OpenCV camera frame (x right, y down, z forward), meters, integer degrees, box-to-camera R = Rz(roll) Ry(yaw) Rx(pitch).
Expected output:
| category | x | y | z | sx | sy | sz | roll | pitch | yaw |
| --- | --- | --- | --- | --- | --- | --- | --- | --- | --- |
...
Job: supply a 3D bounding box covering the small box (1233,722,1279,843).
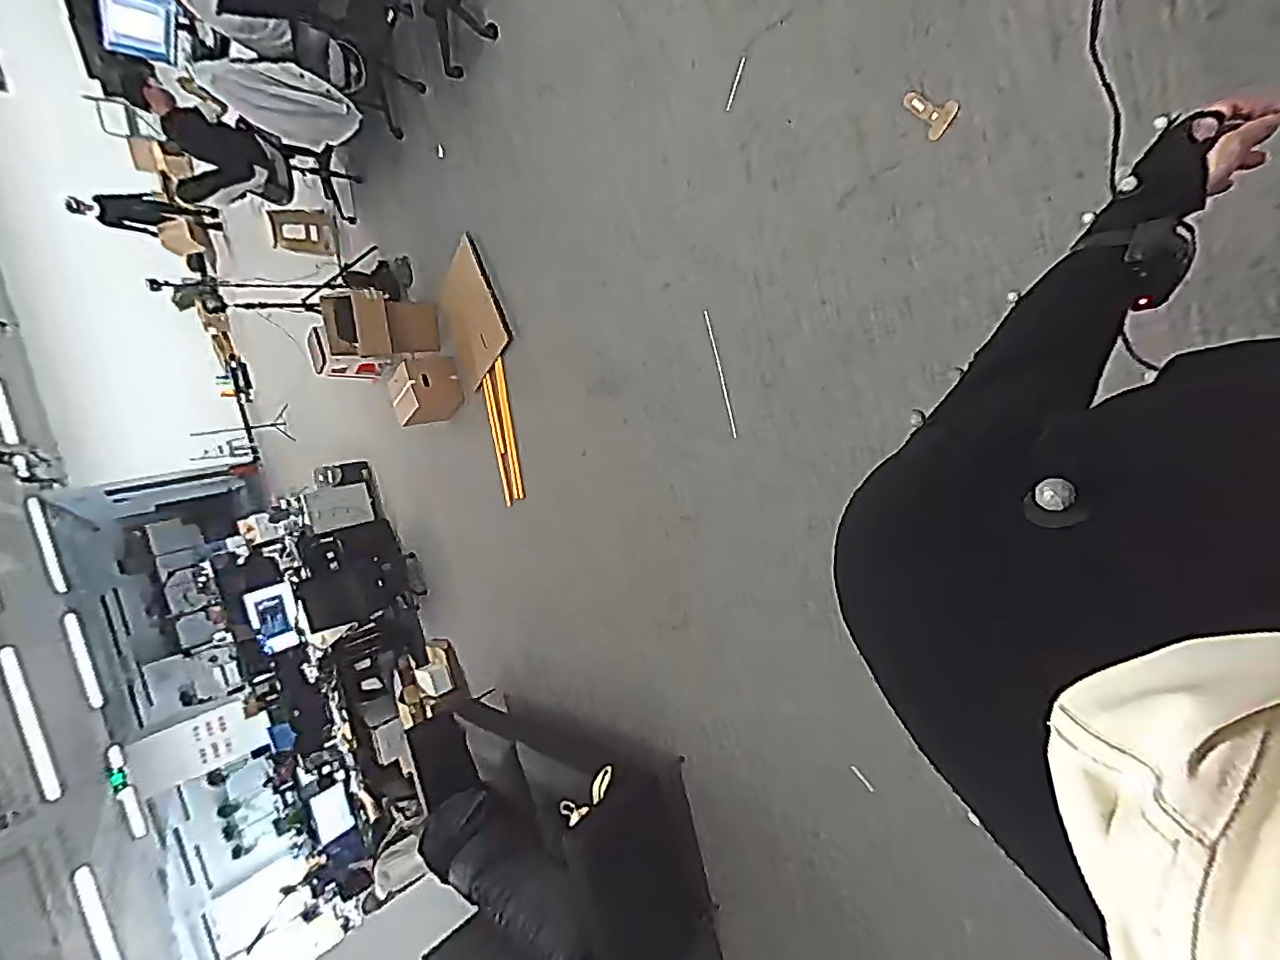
| category | x | y | z | sx | sy | sz | roll | pitch | yaw |
| --- | --- | --- | --- | --- | --- | --- | --- | --- | --- |
| small box | 1.335 | 0.622 | 1.093 | 0.179 | 0.176 | 0.168 | -5 | 99 | 49 |
